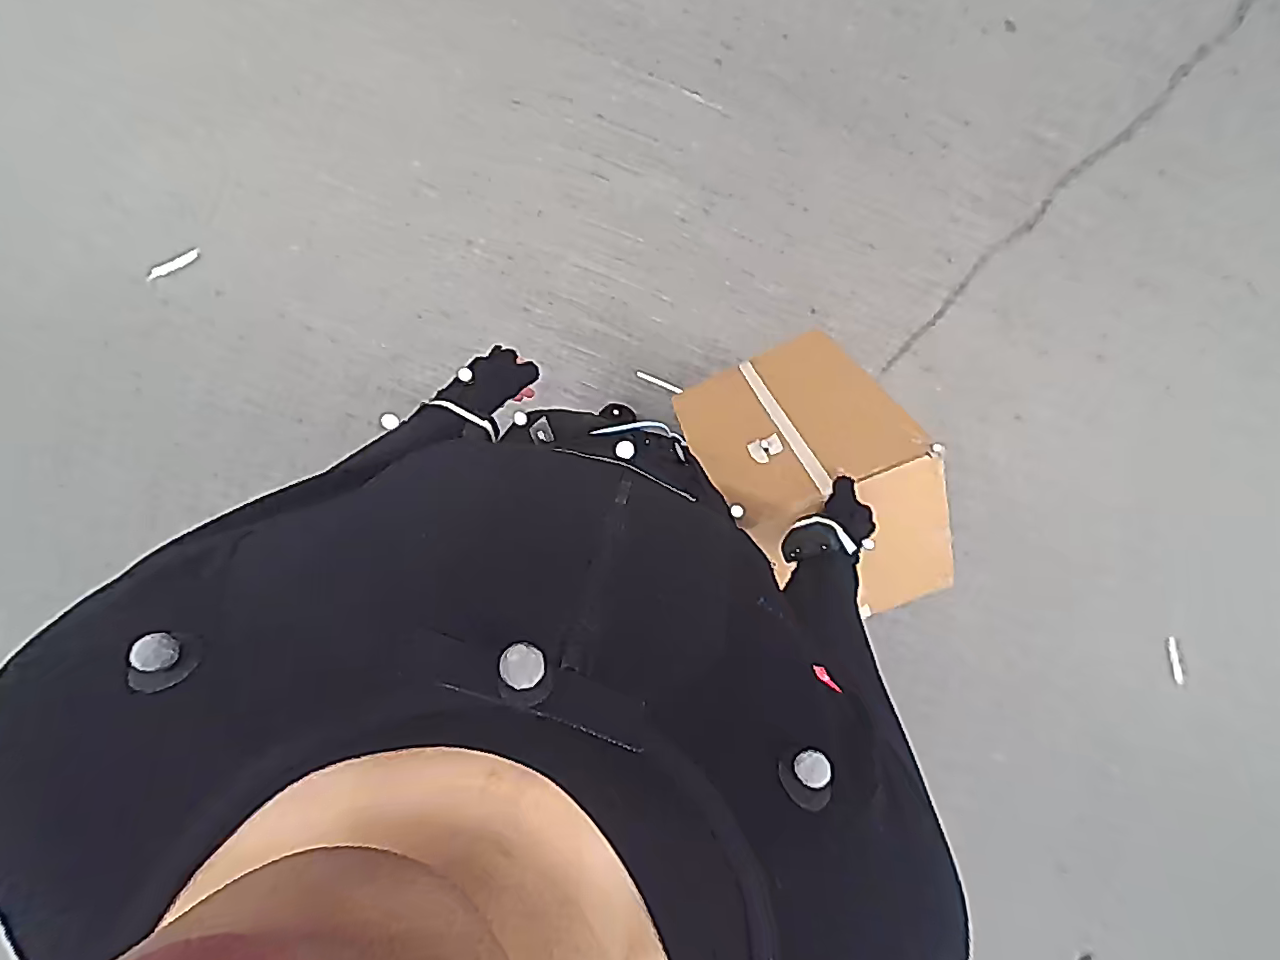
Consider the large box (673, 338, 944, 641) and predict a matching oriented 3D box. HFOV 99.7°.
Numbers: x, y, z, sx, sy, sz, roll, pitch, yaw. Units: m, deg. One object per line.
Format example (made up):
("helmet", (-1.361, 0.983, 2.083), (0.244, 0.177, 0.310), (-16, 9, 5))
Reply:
("large box", (0.290, 0.008, 0.990), (0.320, 0.408, 0.320), (-24, 128, 9))
